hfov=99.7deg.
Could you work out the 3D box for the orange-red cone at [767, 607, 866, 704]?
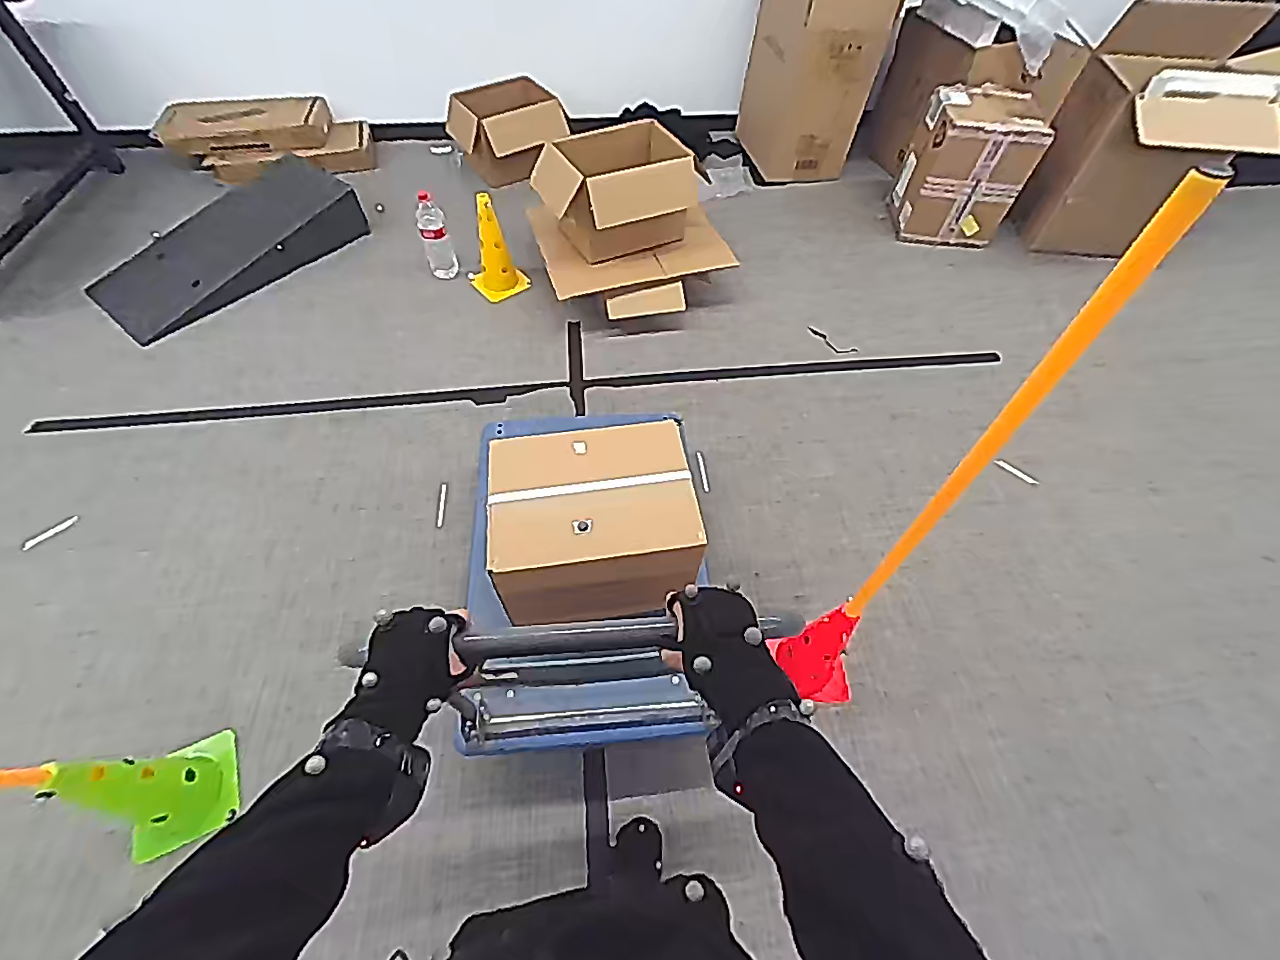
[{"bbox_3d":[0.431,0.367,1.225,0.199,0.360,0.198,1,56,-2],"label":"orange-red cone"}]
